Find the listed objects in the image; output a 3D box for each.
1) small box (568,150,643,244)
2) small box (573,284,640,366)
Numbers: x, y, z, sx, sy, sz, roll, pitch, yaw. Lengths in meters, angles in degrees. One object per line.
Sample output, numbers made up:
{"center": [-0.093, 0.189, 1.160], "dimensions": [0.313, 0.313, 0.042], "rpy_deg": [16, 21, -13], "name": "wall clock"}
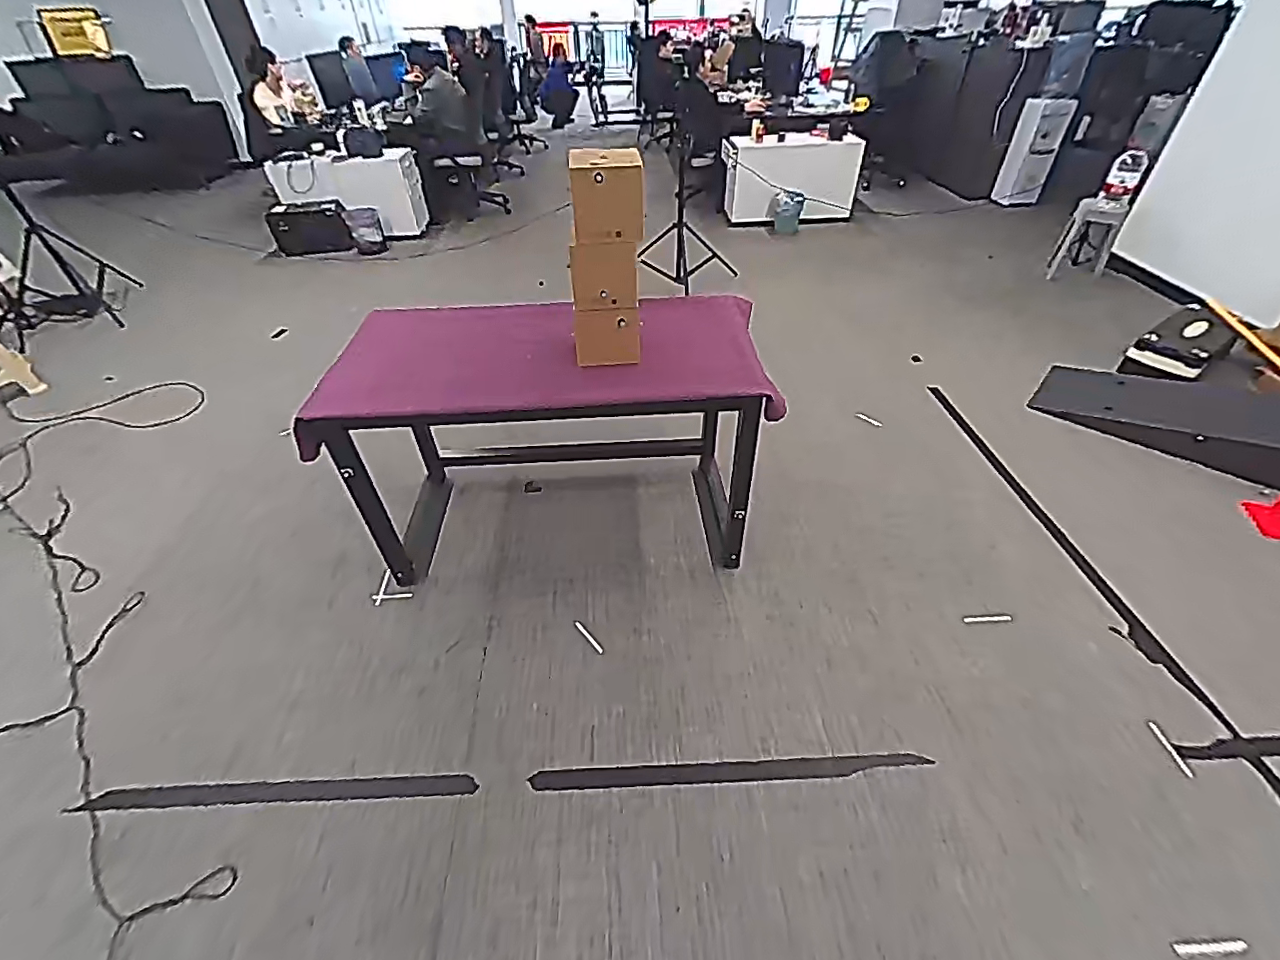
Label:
{"center": [-0.081, -0.681, 1.304], "dimensions": [0.168, 0.176, 0.179], "rpy_deg": [-4, 42, -2], "name": "small box"}
{"center": [-0.092, -0.436, 1.522], "dimensions": [0.179, 0.176, 0.168], "rpy_deg": [-4, 41, -2], "name": "small box"}
